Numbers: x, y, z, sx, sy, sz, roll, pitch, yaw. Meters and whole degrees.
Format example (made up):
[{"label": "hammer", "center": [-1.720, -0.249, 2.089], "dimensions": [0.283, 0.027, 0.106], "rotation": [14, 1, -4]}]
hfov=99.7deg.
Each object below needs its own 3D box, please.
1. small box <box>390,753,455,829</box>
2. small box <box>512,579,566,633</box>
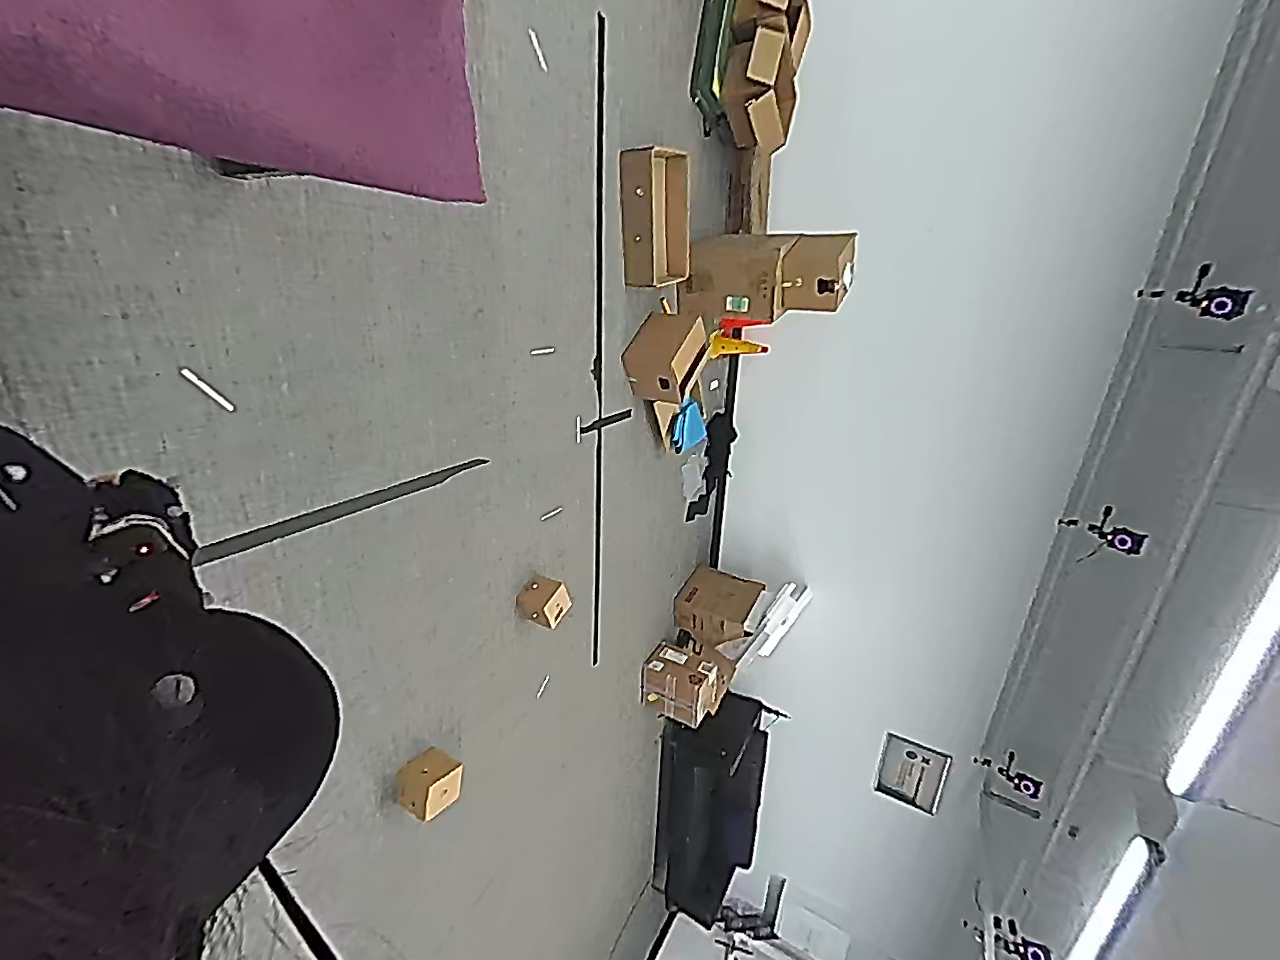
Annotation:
[{"label": "small box", "center": [-0.879, 1.248, 2.183], "dimensions": [0.179, 0.176, 0.168], "rotation": [-9, 112, -63]}, {"label": "small box", "center": [-0.492, 0.607, 2.632], "dimensions": [0.168, 0.176, 0.179], "rotation": [-53, 144, -39]}]
